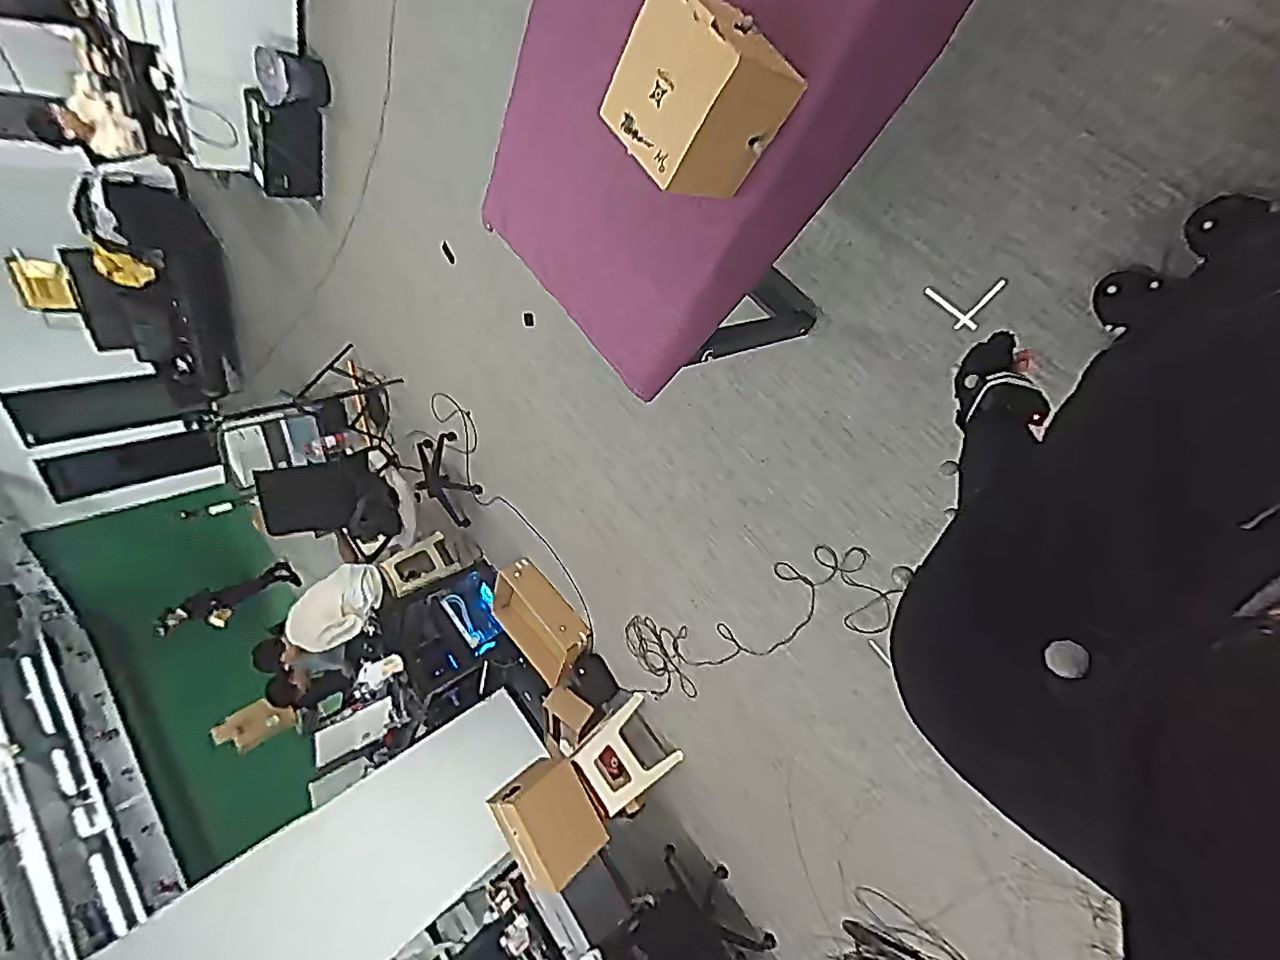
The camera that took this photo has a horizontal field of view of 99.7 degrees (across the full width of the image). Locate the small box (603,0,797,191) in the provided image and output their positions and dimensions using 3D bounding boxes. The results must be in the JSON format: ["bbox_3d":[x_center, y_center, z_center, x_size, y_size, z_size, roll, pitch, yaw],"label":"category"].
[{"bbox_3d":[0.088,-0.530,0.740,0.168,0.176,0.179,56,136,12],"label":"small box"}]
